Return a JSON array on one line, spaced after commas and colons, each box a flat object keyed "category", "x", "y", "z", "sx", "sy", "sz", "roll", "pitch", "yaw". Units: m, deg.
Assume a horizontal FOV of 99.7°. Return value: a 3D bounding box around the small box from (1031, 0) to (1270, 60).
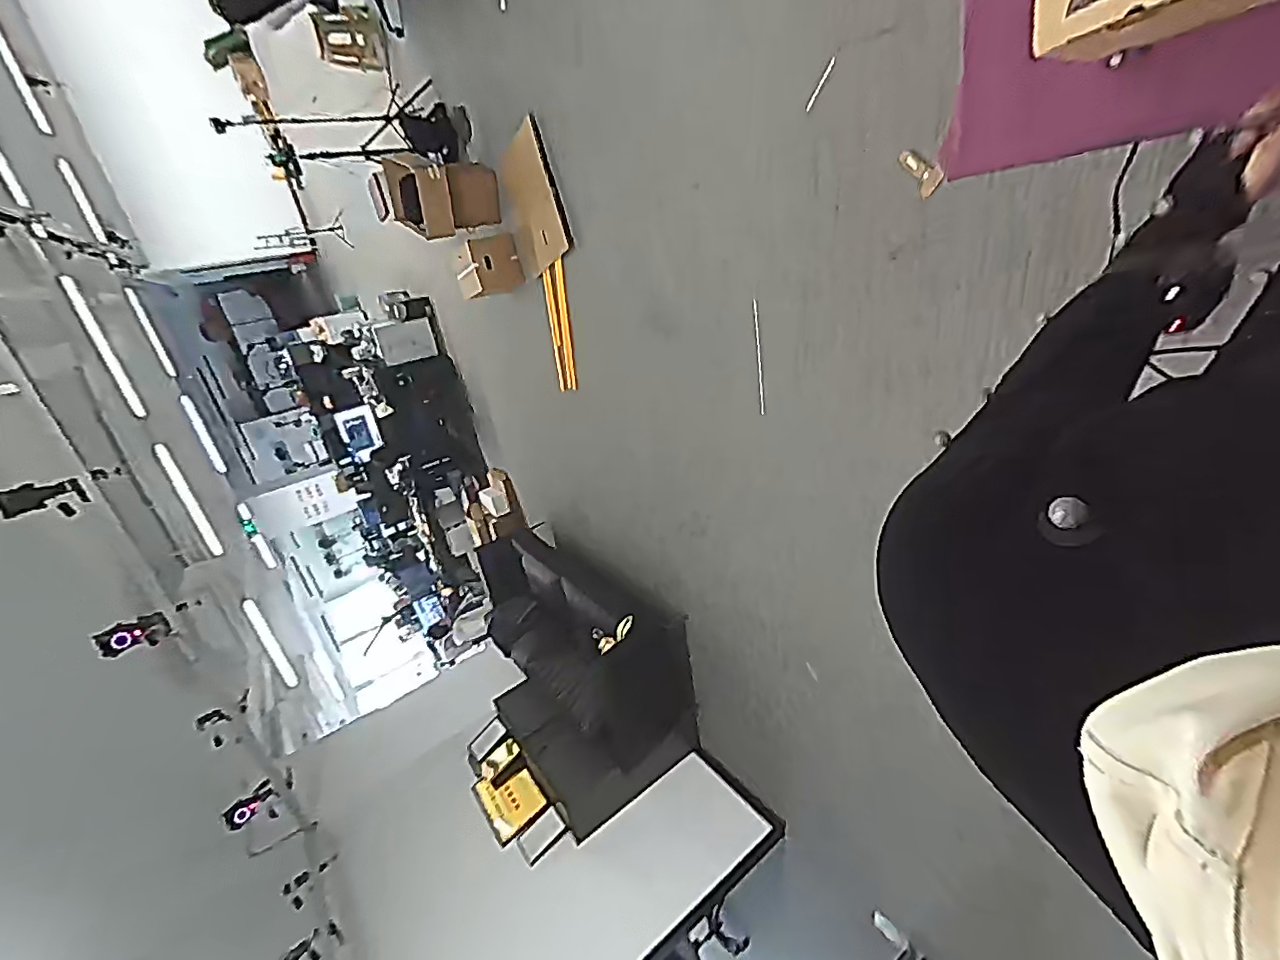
[{"category": "small box", "x": 0.510, "y": -0.537, "z": 0.517, "sx": 0.168, "sy": 0.176, "sz": 0.179, "roll": 19, "pitch": 124, "yaw": 54}]
